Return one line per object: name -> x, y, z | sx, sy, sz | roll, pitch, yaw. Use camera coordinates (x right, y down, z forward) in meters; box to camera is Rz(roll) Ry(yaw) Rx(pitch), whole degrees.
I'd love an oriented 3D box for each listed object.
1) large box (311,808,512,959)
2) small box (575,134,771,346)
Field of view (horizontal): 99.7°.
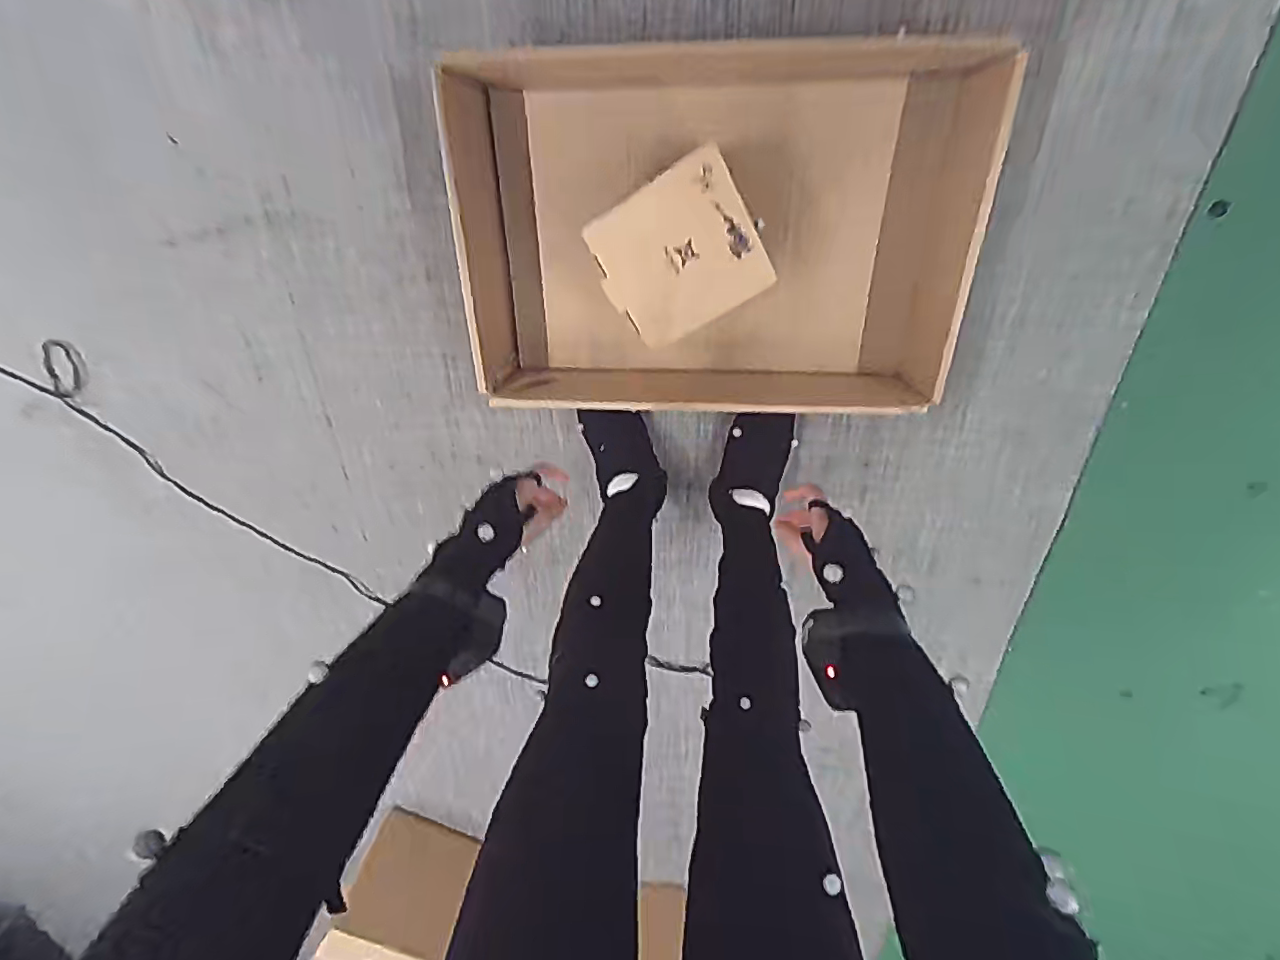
large box -> -0.643, 1.235, 1.562 | 0.408, 0.320, 0.320 | 29, 117, -8
small box -> 0.047, -0.298, 0.684 | 0.179, 0.176, 0.168 | -26, 112, 19
